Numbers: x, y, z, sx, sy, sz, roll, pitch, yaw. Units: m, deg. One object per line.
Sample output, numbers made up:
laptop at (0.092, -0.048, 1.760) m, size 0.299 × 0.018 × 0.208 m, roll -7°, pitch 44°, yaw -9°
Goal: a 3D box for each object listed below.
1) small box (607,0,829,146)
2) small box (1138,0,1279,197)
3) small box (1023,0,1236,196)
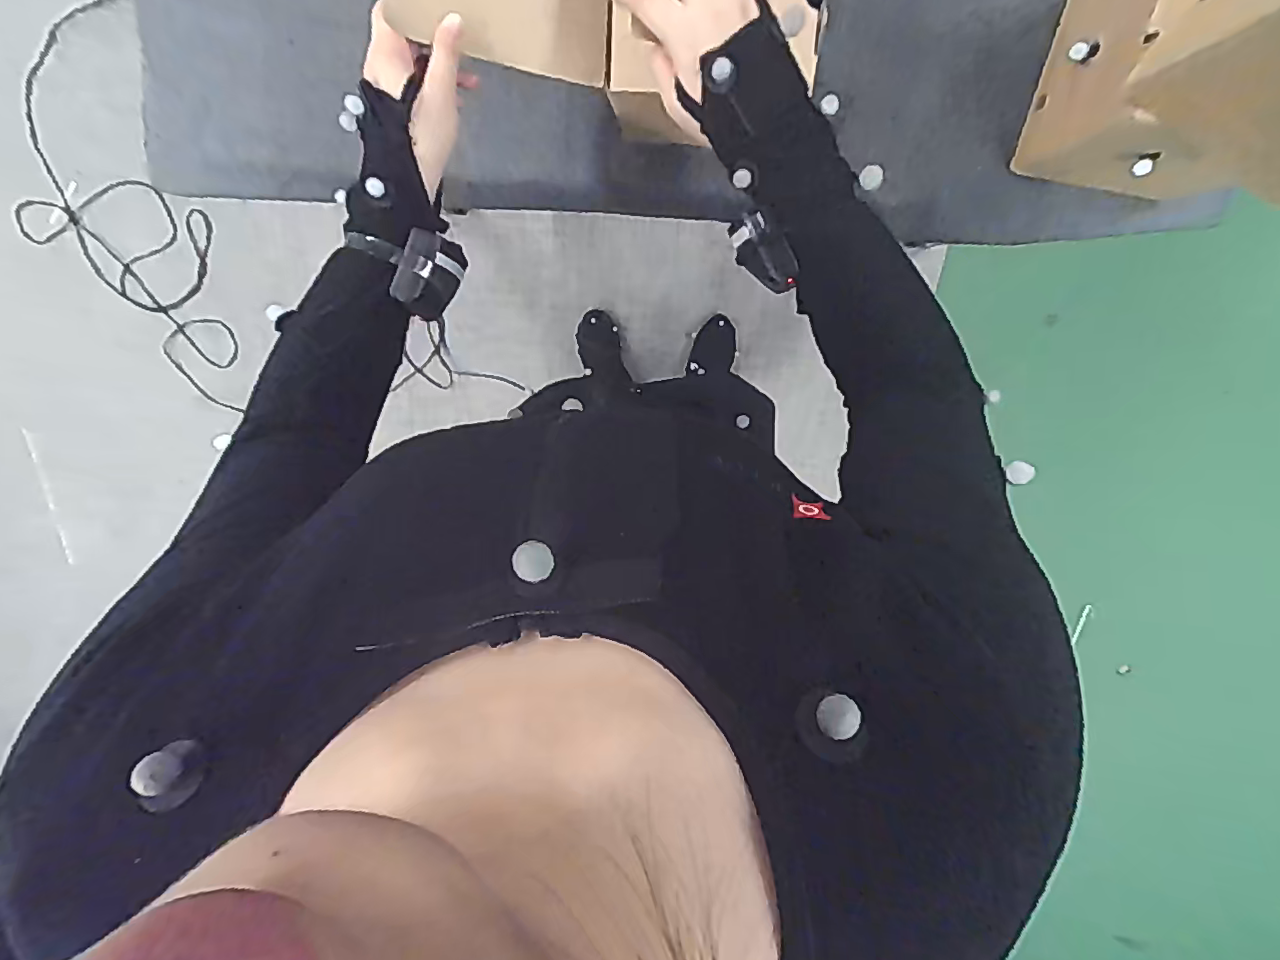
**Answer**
small box at (0.073, -0.426, 0.501) m, size 0.179 × 0.176 × 0.168 m, roll 7°, pitch 110°, yaw 4°
small box at (0.488, -0.306, 0.334) m, size 0.179 × 0.176 × 0.168 m, roll 31°, pitch 106°, yaw -7°
small box at (0.498, -0.371, 0.485) m, size 0.179 × 0.176 × 0.168 m, roll 11°, pitch 108°, yaw 1°
